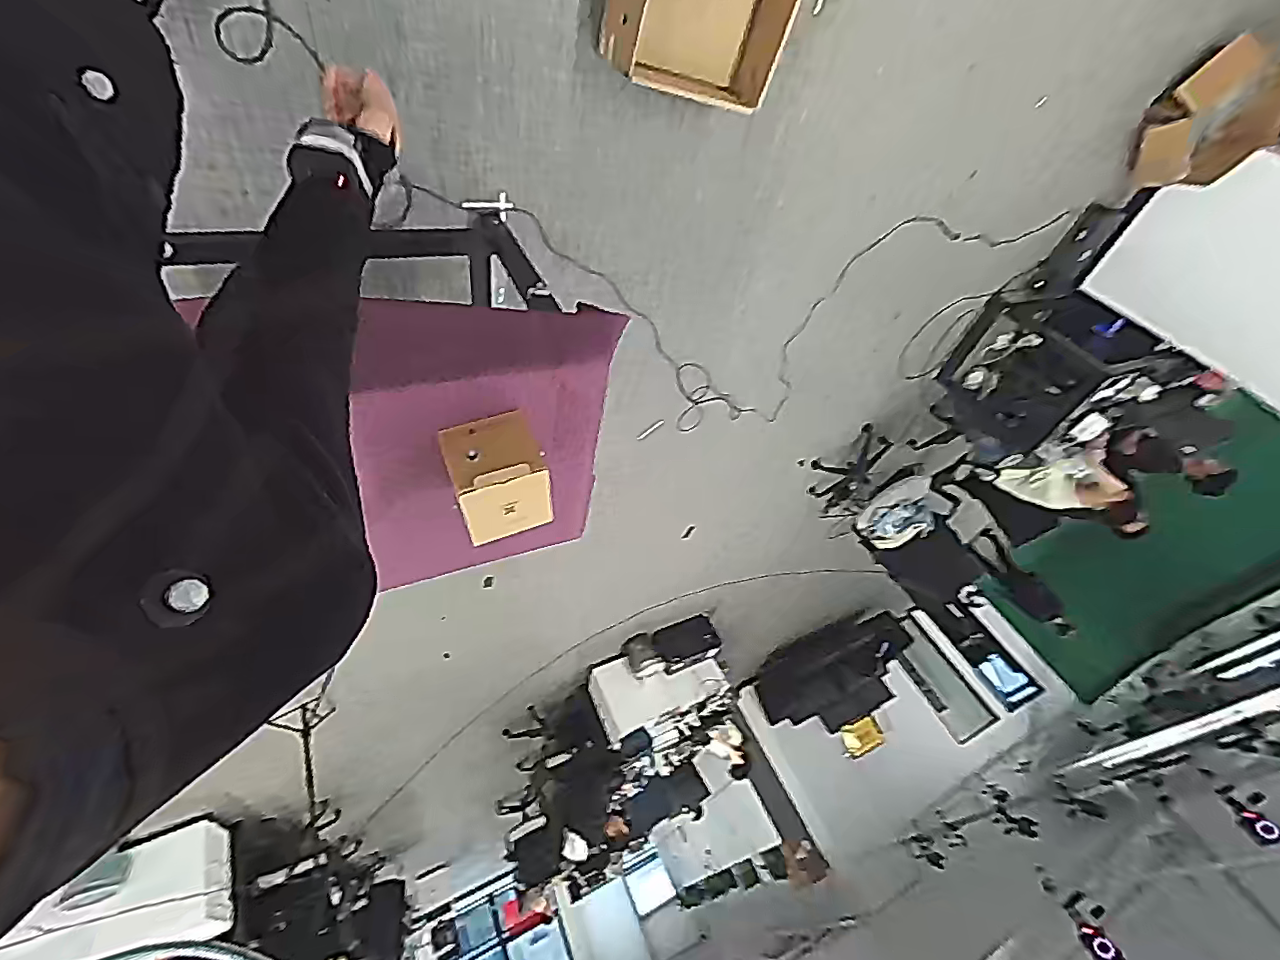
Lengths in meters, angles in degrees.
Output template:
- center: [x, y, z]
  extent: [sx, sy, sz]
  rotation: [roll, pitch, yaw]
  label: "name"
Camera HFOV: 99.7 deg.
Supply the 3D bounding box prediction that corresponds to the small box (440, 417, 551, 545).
- center: [-0.286, -0.006, 1.075]
  extent: [0.168, 0.176, 0.179]
  rotation: [-17, 145, -18]
  label: "small box"
